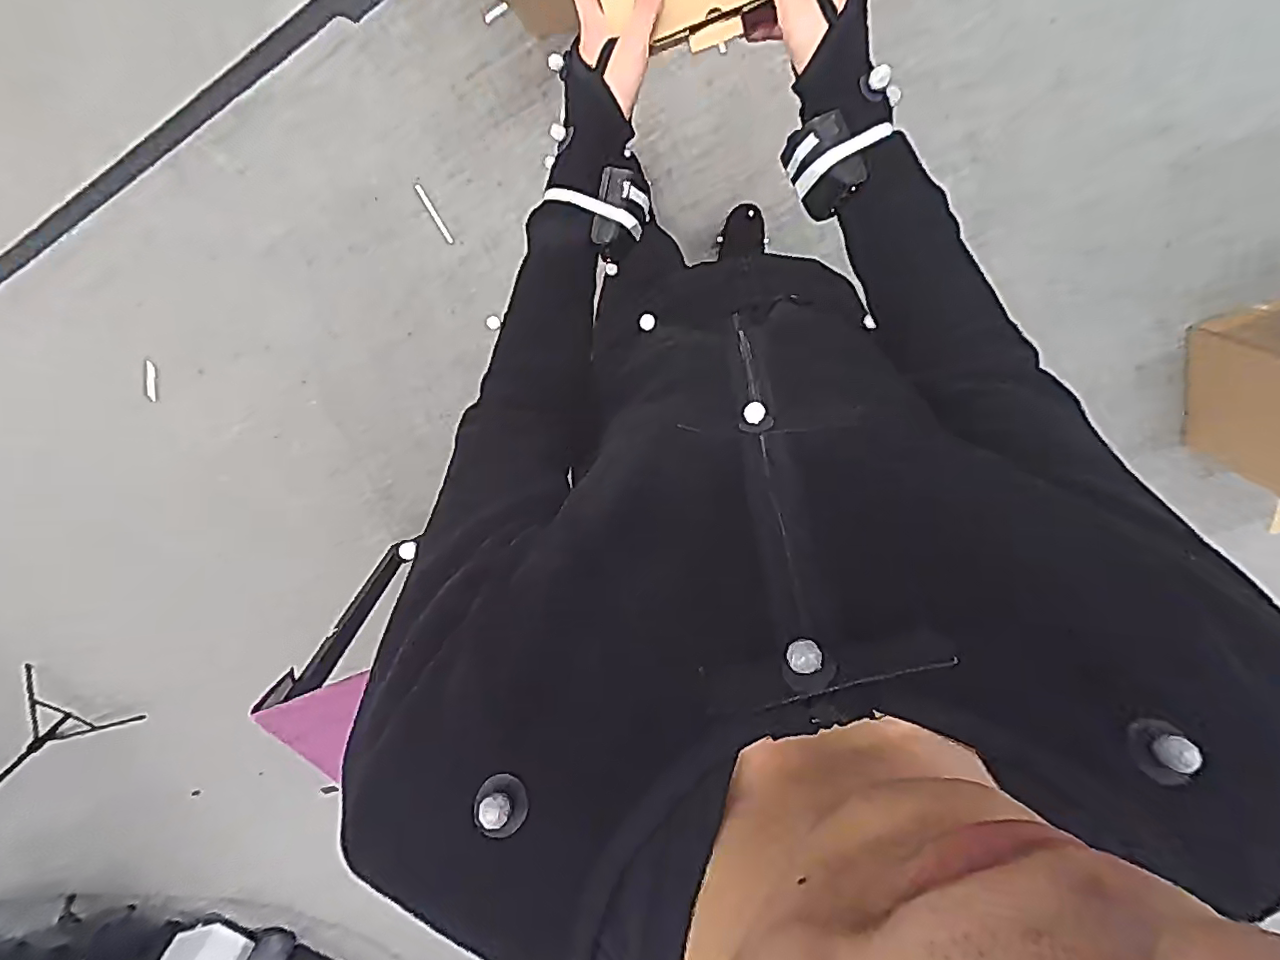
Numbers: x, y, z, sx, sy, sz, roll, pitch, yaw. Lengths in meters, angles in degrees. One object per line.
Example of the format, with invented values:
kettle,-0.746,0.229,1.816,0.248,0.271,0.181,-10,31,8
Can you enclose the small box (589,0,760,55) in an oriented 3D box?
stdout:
small box,0.024,-0.474,0.436,0.168,0.176,0.179,-17,124,7
